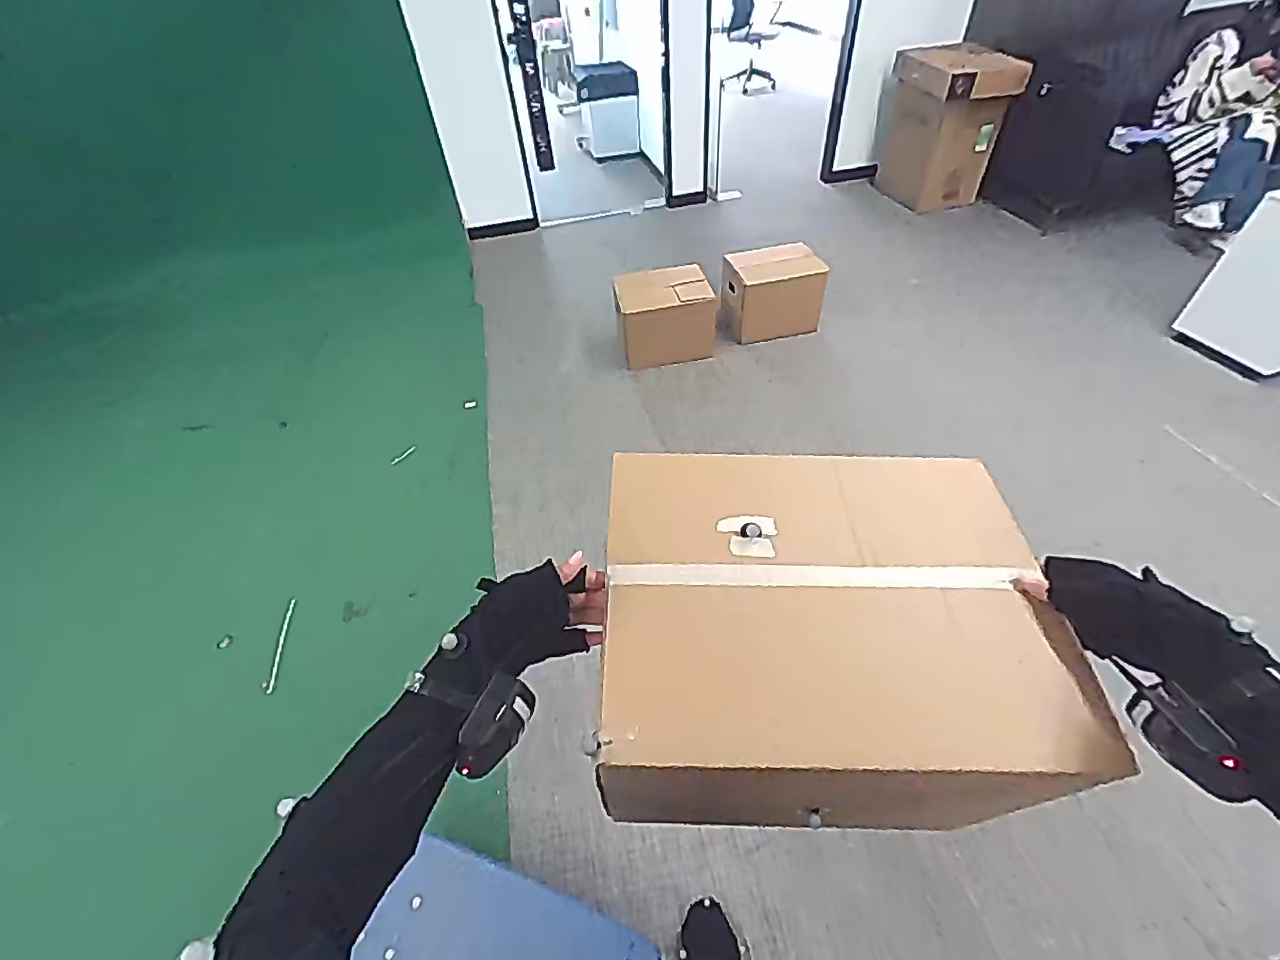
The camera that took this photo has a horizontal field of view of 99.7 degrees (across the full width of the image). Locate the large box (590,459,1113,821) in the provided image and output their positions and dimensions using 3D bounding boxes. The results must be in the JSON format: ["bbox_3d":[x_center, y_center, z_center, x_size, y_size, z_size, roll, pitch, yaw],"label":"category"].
[{"bbox_3d":[0.164,0.190,0.615,0.408,0.320,0.320,1,50,1],"label":"large box"}]
